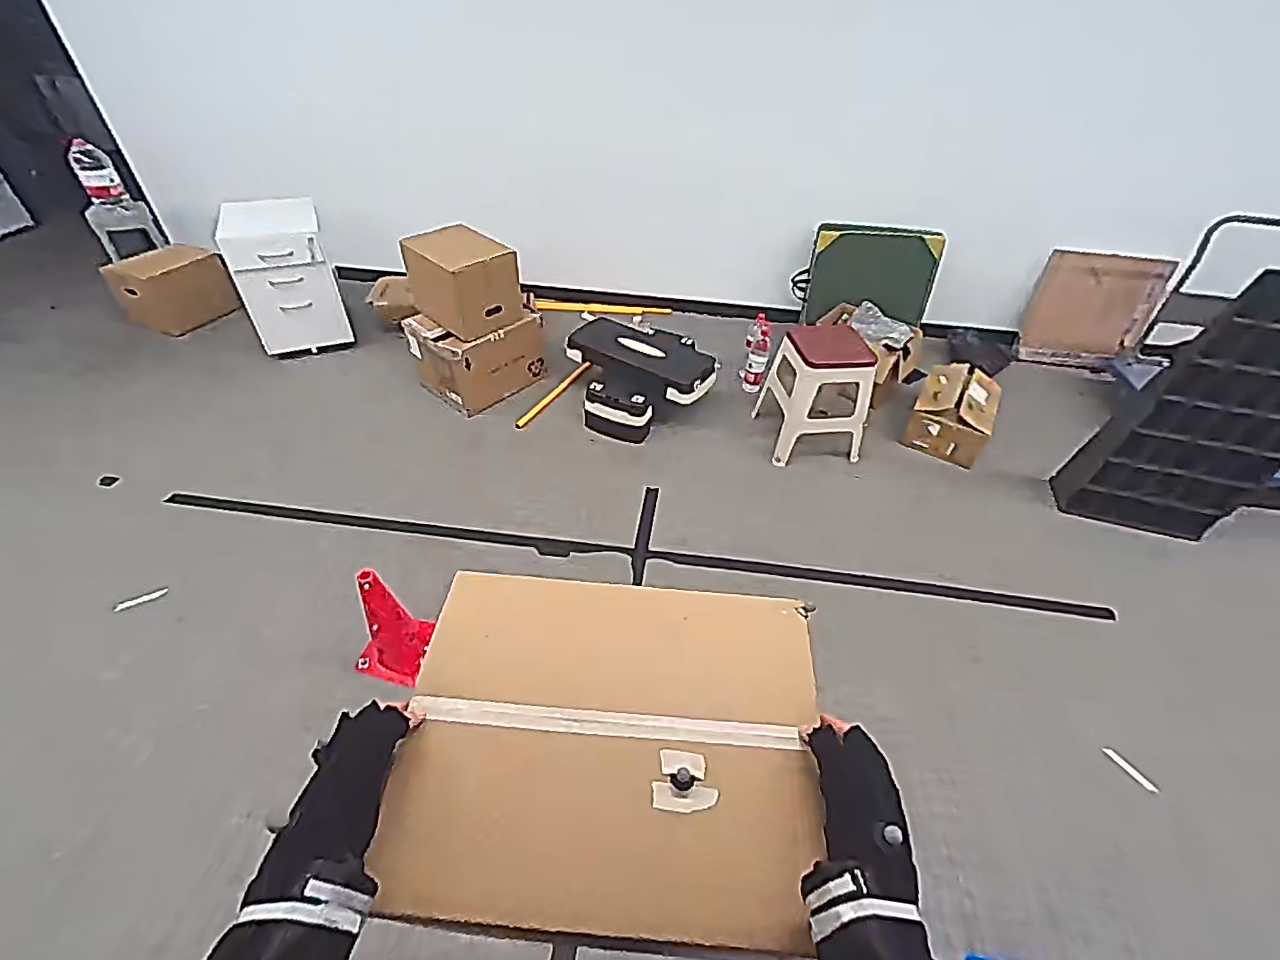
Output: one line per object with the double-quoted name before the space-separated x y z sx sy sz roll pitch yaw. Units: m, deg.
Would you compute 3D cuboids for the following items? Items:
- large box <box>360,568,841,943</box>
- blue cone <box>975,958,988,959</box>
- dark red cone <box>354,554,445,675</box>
"large box" -0.033 0.331 0.646 0.408 0.320 0.320 5 48 1
"blue cone" 0.777 0.962 0.955 0.192 0.380 0.193 11 44 6
"dark red cone" -0.687 0.341 1.466 0.201 0.394 0.202 12 44 8
